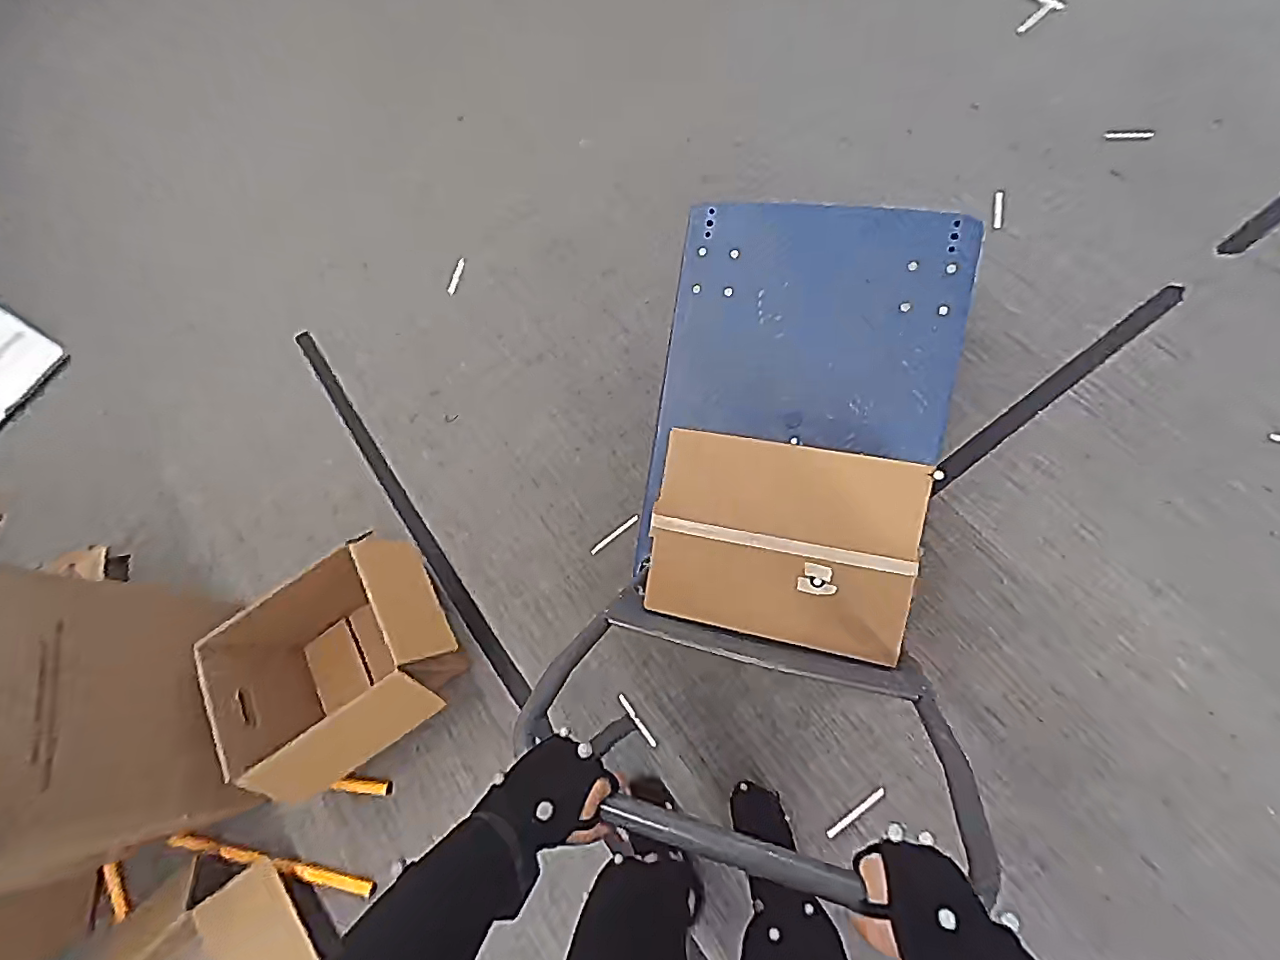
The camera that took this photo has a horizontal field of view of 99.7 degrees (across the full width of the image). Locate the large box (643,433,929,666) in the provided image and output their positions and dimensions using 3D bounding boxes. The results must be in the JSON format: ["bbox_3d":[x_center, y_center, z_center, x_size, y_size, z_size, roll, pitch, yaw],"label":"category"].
[{"bbox_3d":[0.248,0.098,0.992,0.408,0.320,0.320,10,95,13],"label":"large box"}]
